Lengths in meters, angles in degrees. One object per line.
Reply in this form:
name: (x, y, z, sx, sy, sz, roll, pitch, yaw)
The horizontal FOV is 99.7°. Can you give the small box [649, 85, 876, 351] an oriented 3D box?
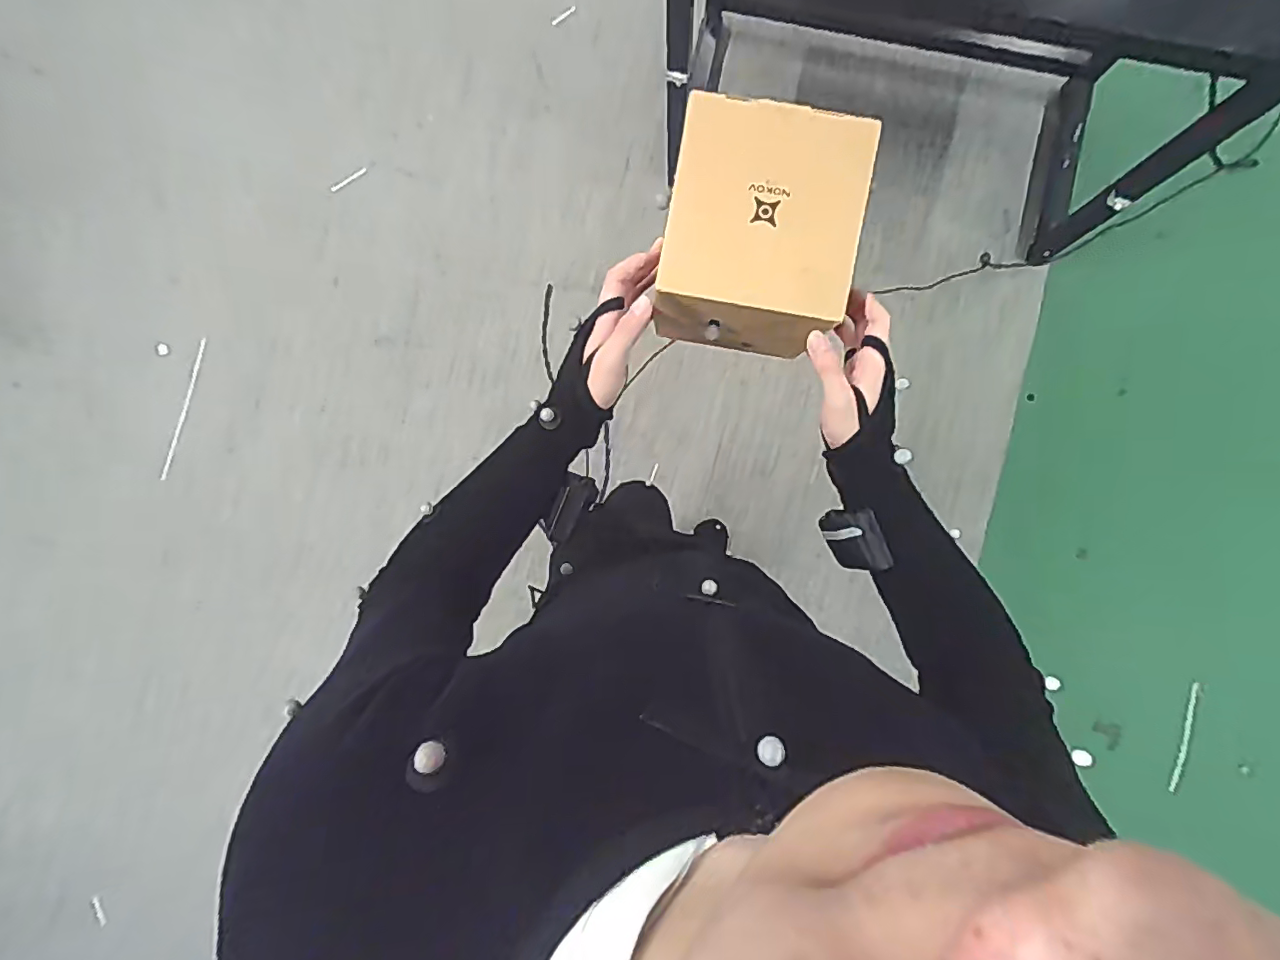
small box: (0.108, -0.239, 0.537, 0.168, 0.176, 0.179, 10, 91, 3)
